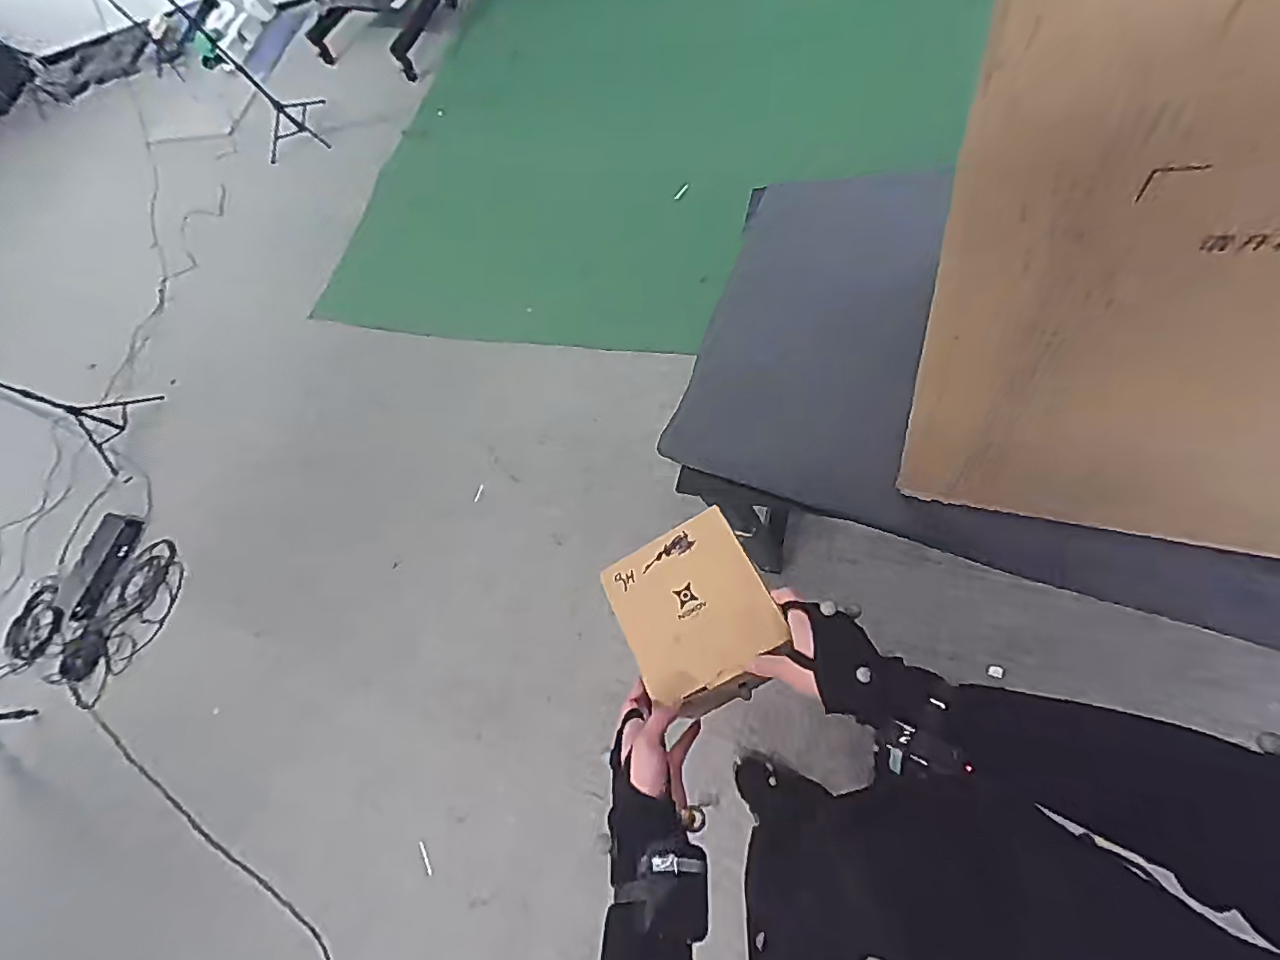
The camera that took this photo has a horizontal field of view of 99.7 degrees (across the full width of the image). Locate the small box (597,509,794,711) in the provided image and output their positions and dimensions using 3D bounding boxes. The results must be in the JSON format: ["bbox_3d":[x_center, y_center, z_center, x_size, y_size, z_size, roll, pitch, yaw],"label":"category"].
[{"bbox_3d":[0.076,0.169,0.678,0.168,0.176,0.179,-31,60,7],"label":"small box"}]
